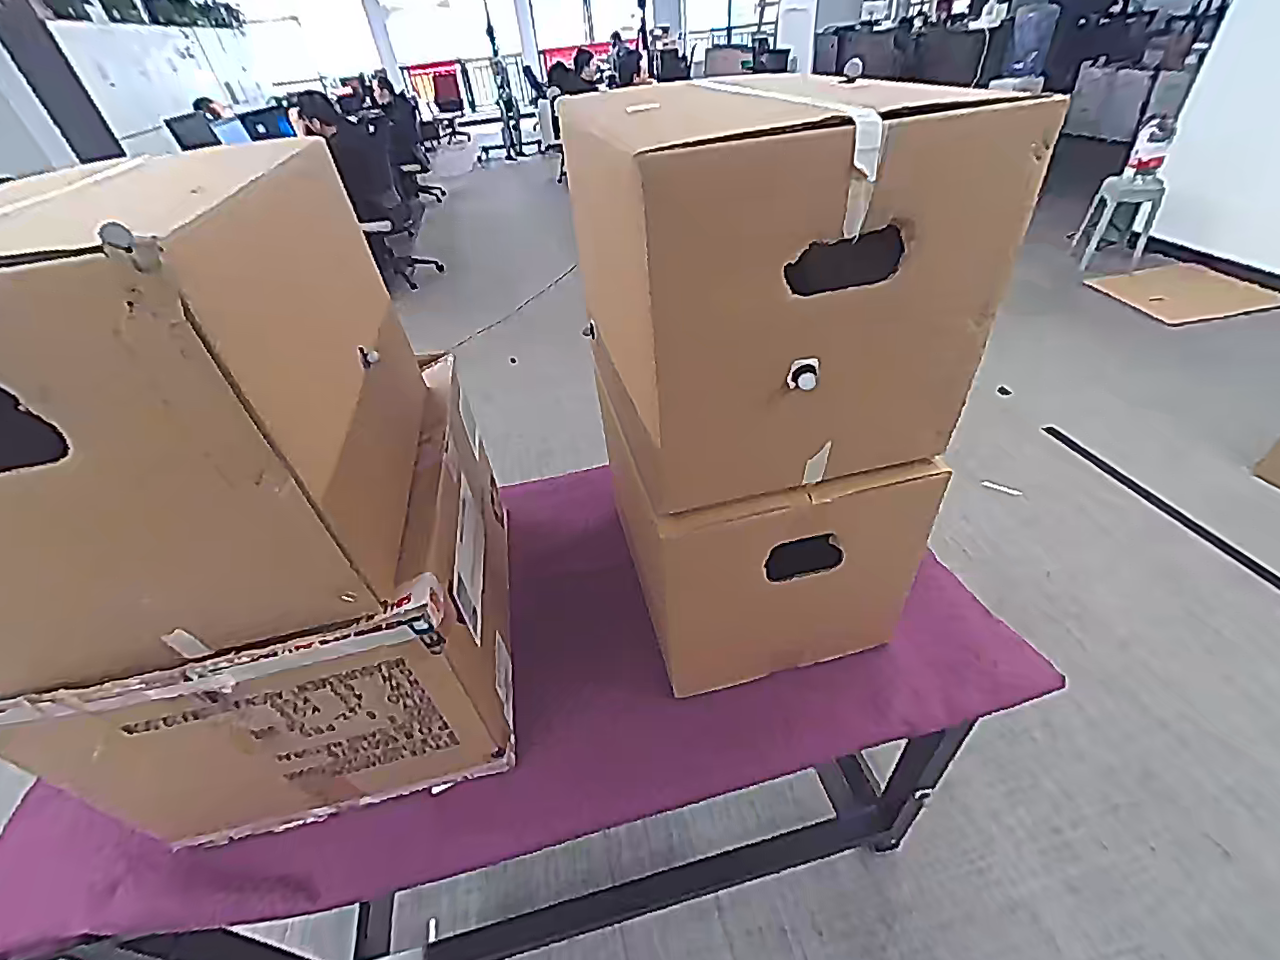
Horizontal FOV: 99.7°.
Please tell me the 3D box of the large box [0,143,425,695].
[{"bbox_3d":[-0.413,-0.089,0.506,0.320,0.320,0.408,-14,41,-6],"label":"large box"}]
